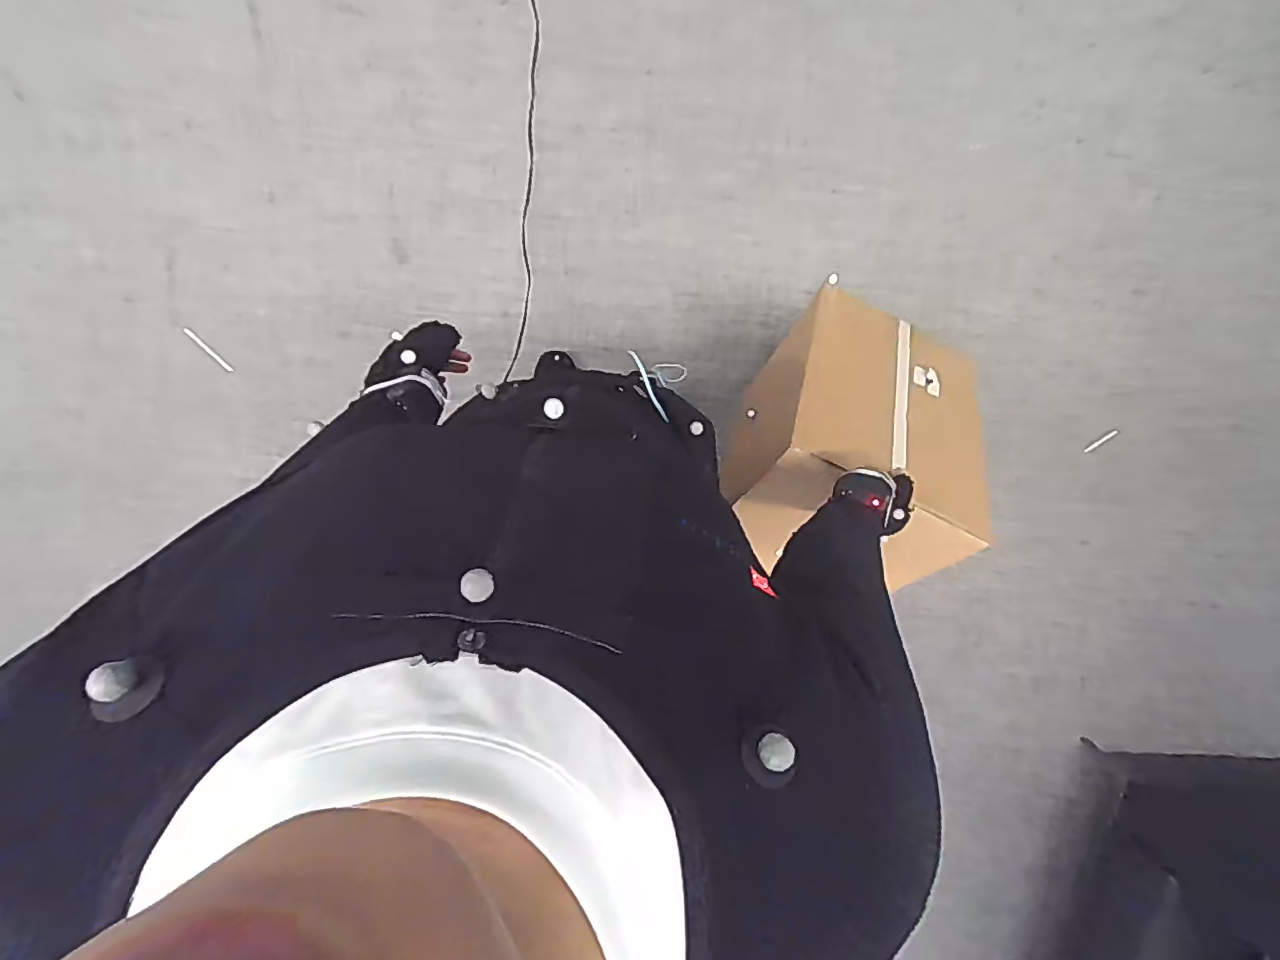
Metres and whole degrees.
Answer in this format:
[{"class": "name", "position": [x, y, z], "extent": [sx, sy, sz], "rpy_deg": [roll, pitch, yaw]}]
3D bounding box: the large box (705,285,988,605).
[{"class": "large box", "position": [0.348, -0.053, 0.958], "extent": [0.320, 0.408, 0.320], "rpy_deg": [26, 144, -5]}]
